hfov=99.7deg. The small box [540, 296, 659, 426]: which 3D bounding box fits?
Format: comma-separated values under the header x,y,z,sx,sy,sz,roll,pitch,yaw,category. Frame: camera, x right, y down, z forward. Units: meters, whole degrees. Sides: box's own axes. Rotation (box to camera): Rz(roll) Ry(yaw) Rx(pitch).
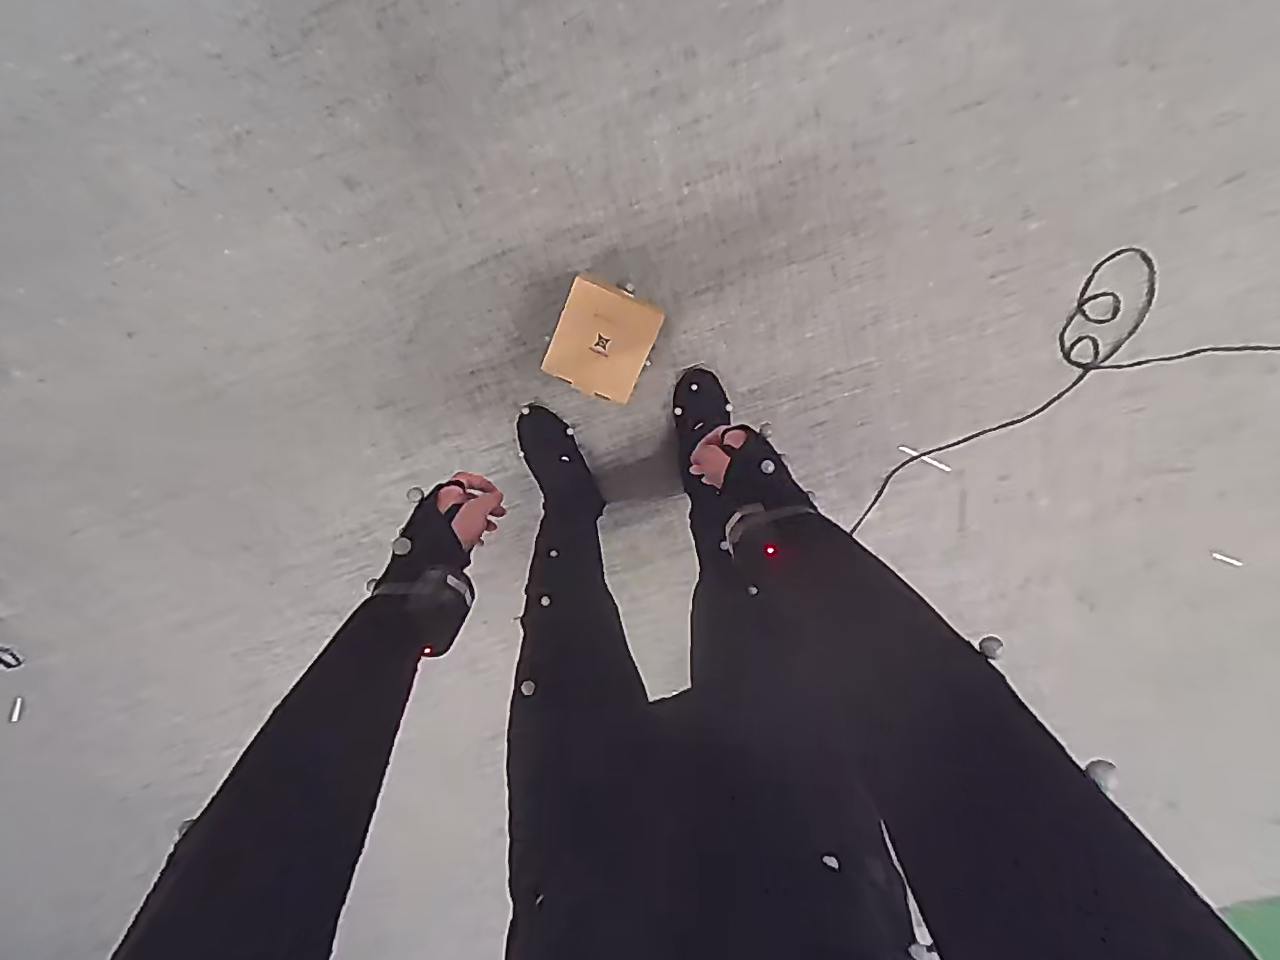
x,y,z,sx,sy,sz,roll,pitch,yaw,category
-0.075,-0.231,1.026,0.168,0.176,0.179,21,109,-11,small box
